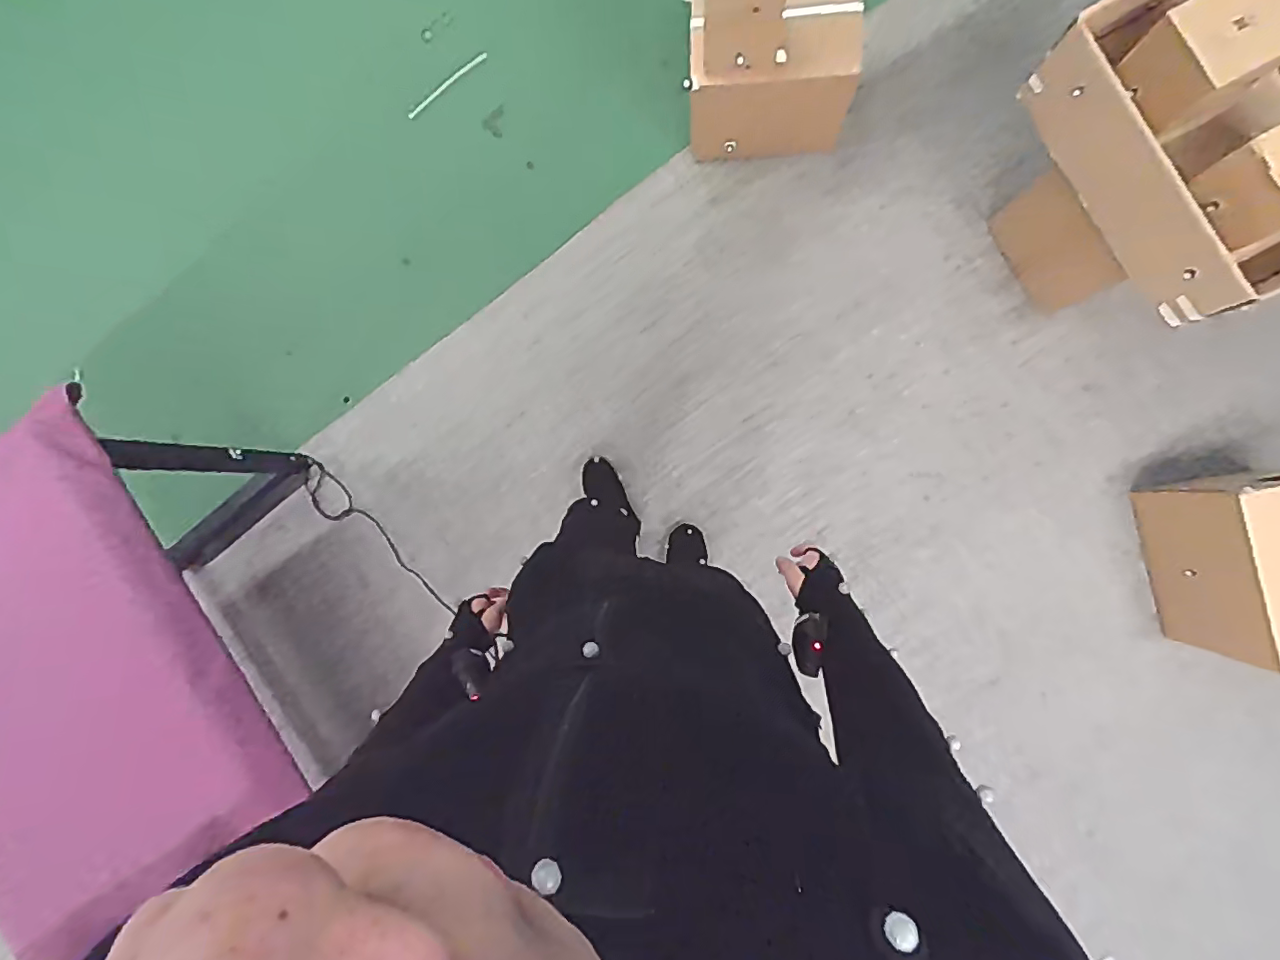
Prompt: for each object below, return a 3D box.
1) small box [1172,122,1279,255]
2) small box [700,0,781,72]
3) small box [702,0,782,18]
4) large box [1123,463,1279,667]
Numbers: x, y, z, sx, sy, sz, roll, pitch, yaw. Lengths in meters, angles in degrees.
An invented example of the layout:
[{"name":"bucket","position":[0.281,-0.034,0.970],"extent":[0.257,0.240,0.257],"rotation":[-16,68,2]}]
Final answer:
[{"name":"small box","position":[1.162,-0.553,0.993],"extent":[0.179,0.176,0.168],"rotation":[-28,86,7]},{"name":"small box","position":[0.219,-1.063,1.207],"extent":[0.168,0.176,0.179],"rotation":[0,91,6]},{"name":"small box","position":[0.202,-1.053,1.044],"extent":[0.168,0.176,0.179],"rotation":[-1,89,6]},{"name":"large box","position":[1.482,0.184,1.301],"extent":[0.320,0.320,0.408],"rotation":[-12,87,6]}]
